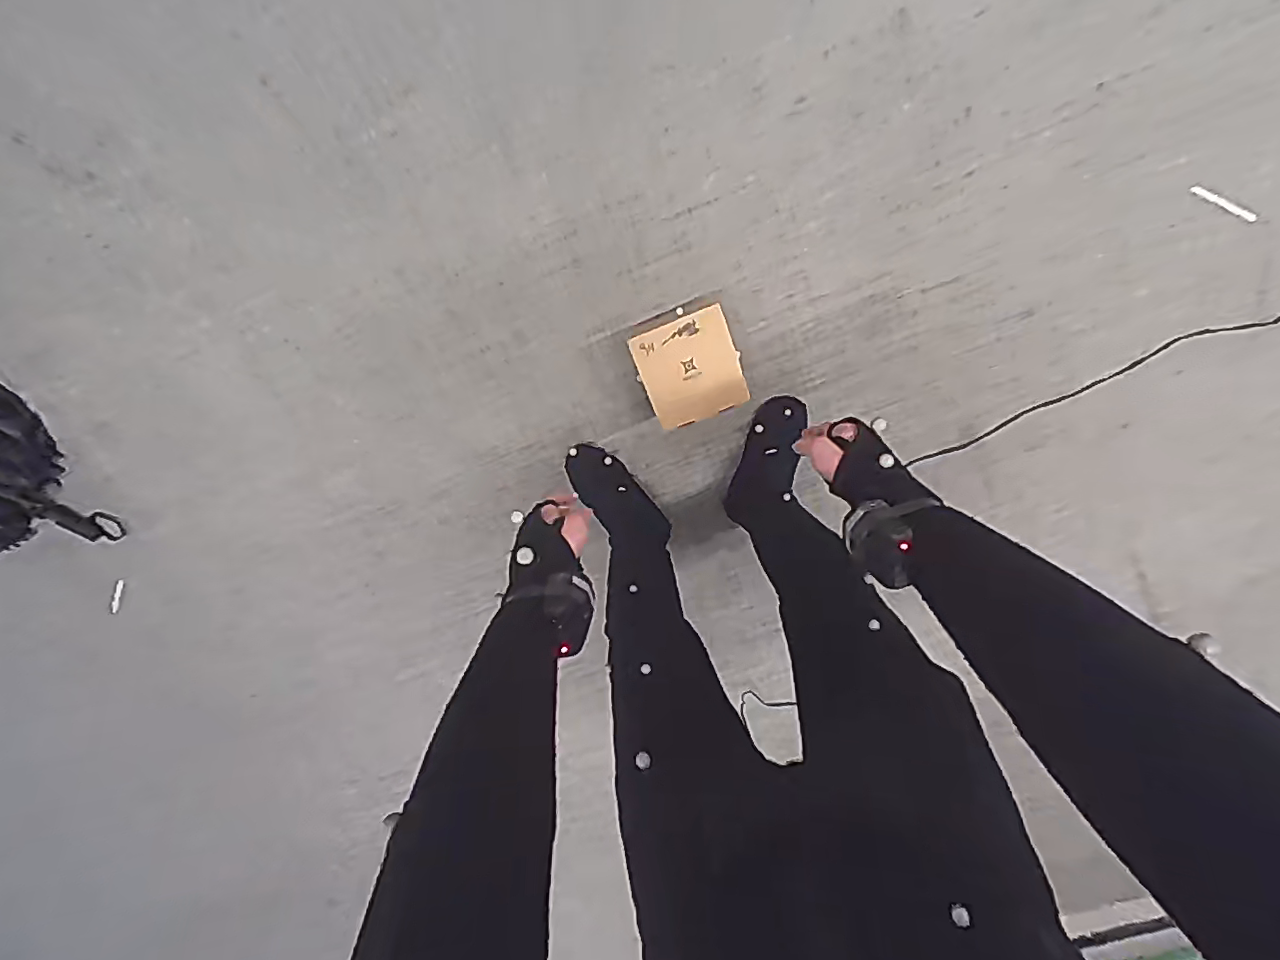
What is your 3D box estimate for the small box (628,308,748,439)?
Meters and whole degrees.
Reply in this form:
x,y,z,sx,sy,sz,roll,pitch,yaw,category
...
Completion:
x,y,z,sx,sy,sz,roll,pitch,yaw,category
0.087,-0.203,1.002,0.168,0.176,0.179,-20,109,8,small box
